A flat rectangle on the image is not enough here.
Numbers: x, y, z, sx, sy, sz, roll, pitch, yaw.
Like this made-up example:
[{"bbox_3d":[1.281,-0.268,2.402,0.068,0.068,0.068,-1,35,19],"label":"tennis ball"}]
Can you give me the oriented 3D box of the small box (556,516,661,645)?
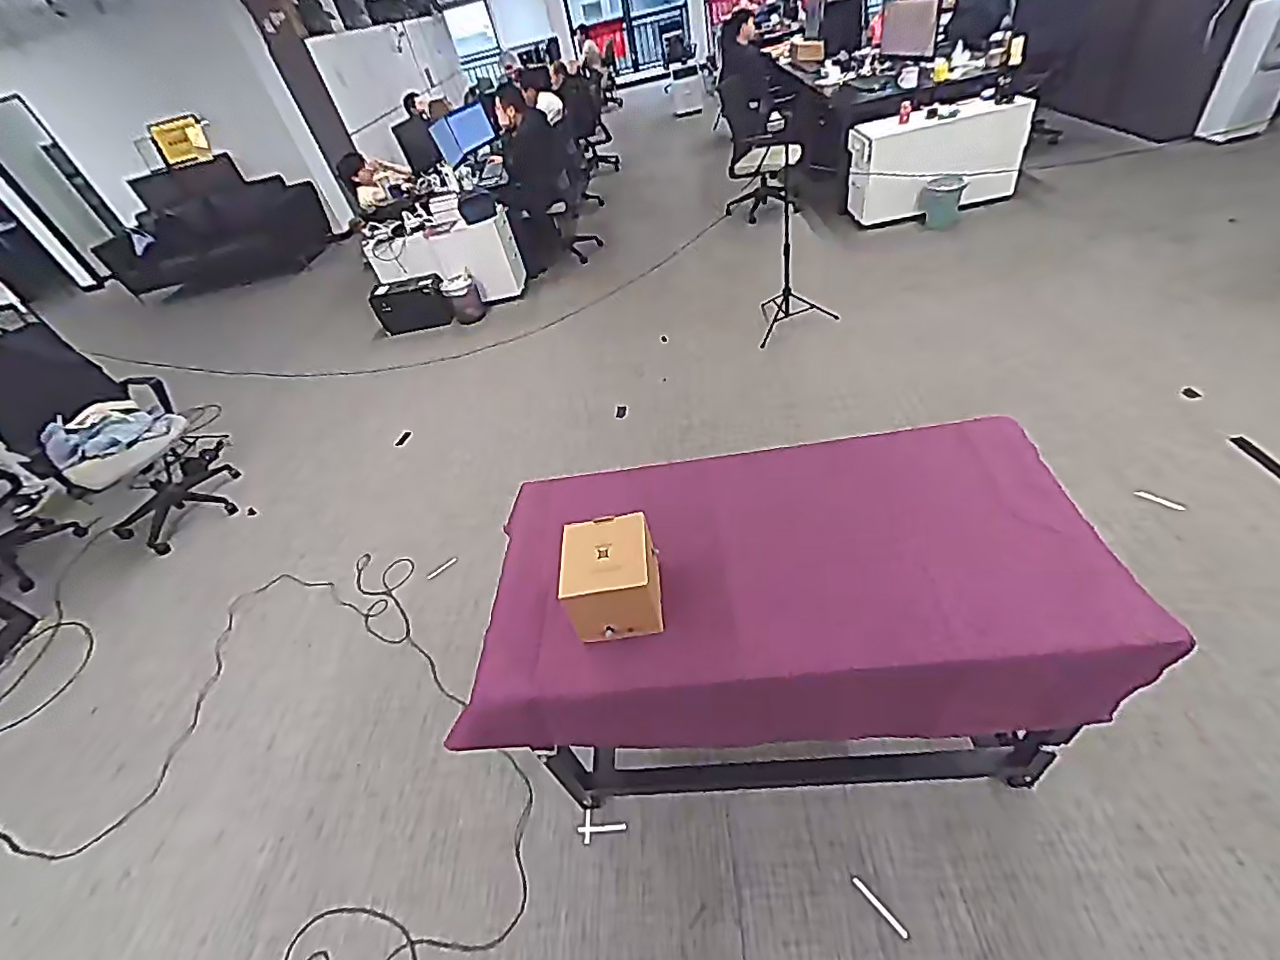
[{"bbox_3d":[-0.056,0.198,1.062,0.168,0.176,0.179,-10,43,7],"label":"small box"}]
